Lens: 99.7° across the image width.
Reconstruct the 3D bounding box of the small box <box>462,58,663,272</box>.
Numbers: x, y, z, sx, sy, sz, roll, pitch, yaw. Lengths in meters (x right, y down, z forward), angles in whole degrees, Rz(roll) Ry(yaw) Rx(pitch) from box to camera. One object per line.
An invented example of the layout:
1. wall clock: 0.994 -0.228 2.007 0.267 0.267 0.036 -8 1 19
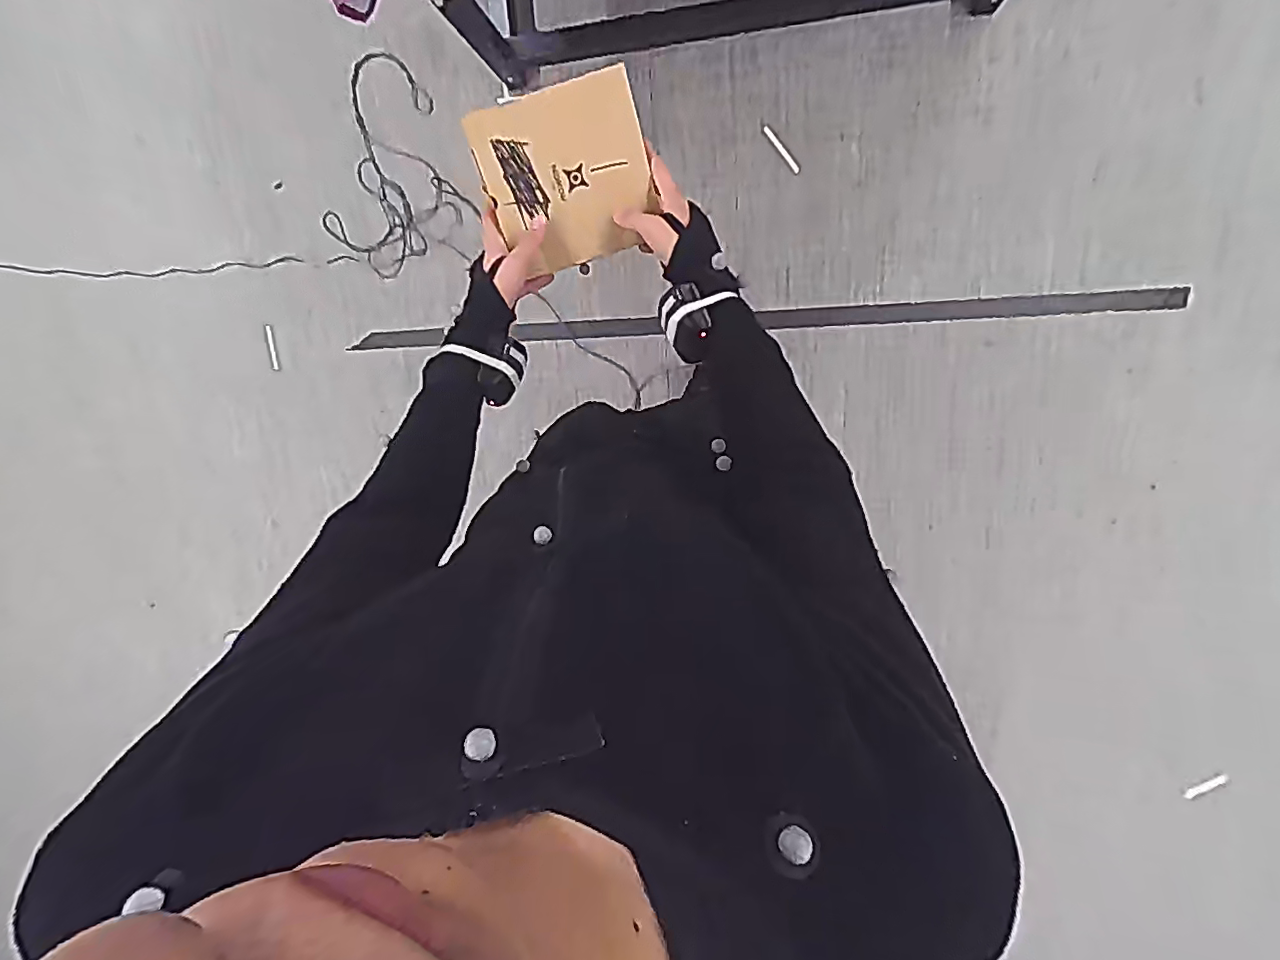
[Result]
1. small box: -0.082 -0.354 0.644 0.179 0.176 0.168 -17 113 2
